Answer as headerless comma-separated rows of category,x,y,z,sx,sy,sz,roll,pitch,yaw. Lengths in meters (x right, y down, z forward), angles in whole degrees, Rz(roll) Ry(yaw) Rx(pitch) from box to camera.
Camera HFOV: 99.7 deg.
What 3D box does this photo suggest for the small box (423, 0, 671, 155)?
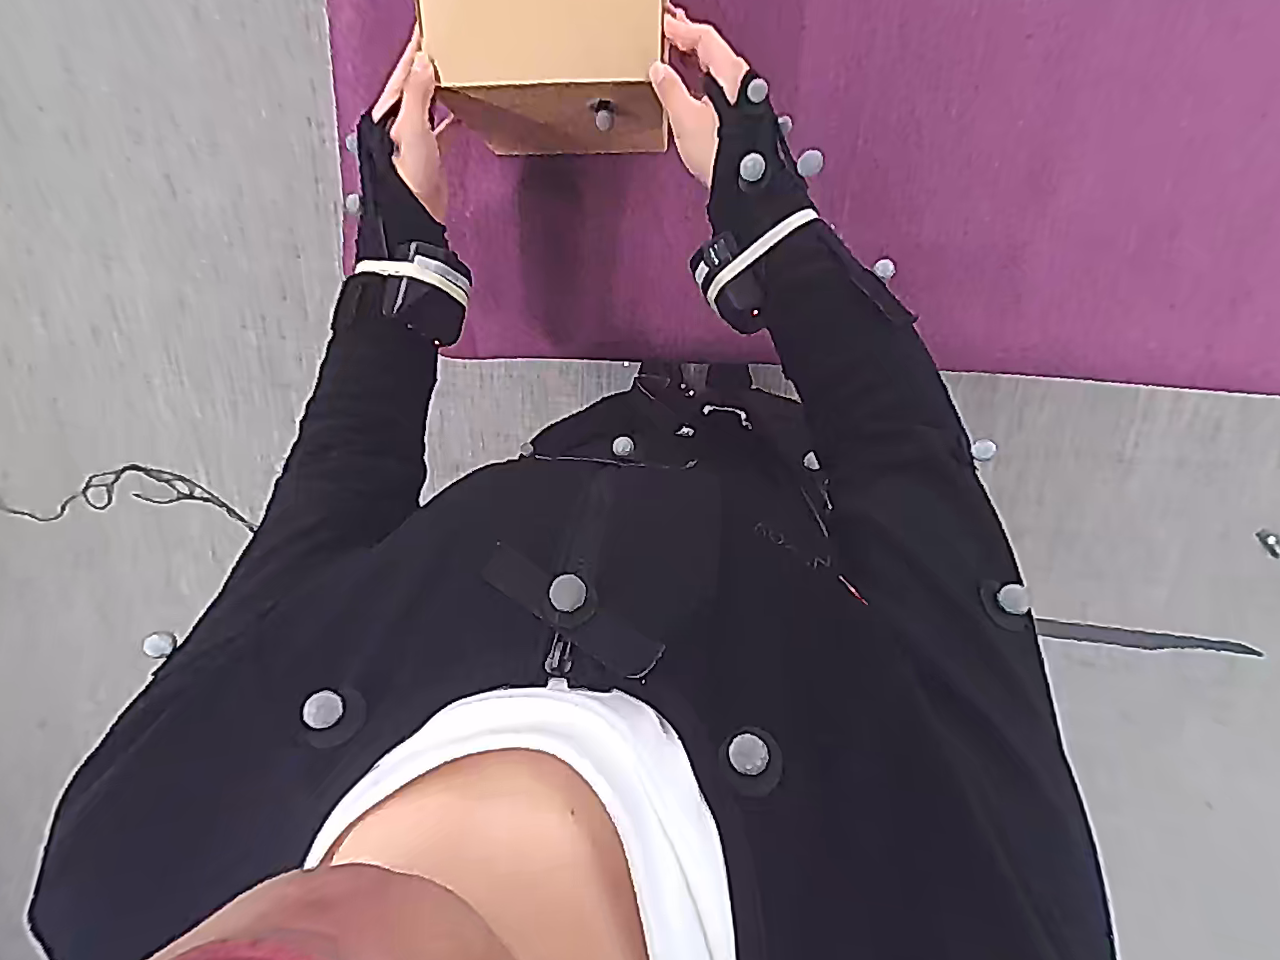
small box,-0.063,-0.386,0.447,0.179,0.176,0.168,2,106,4
